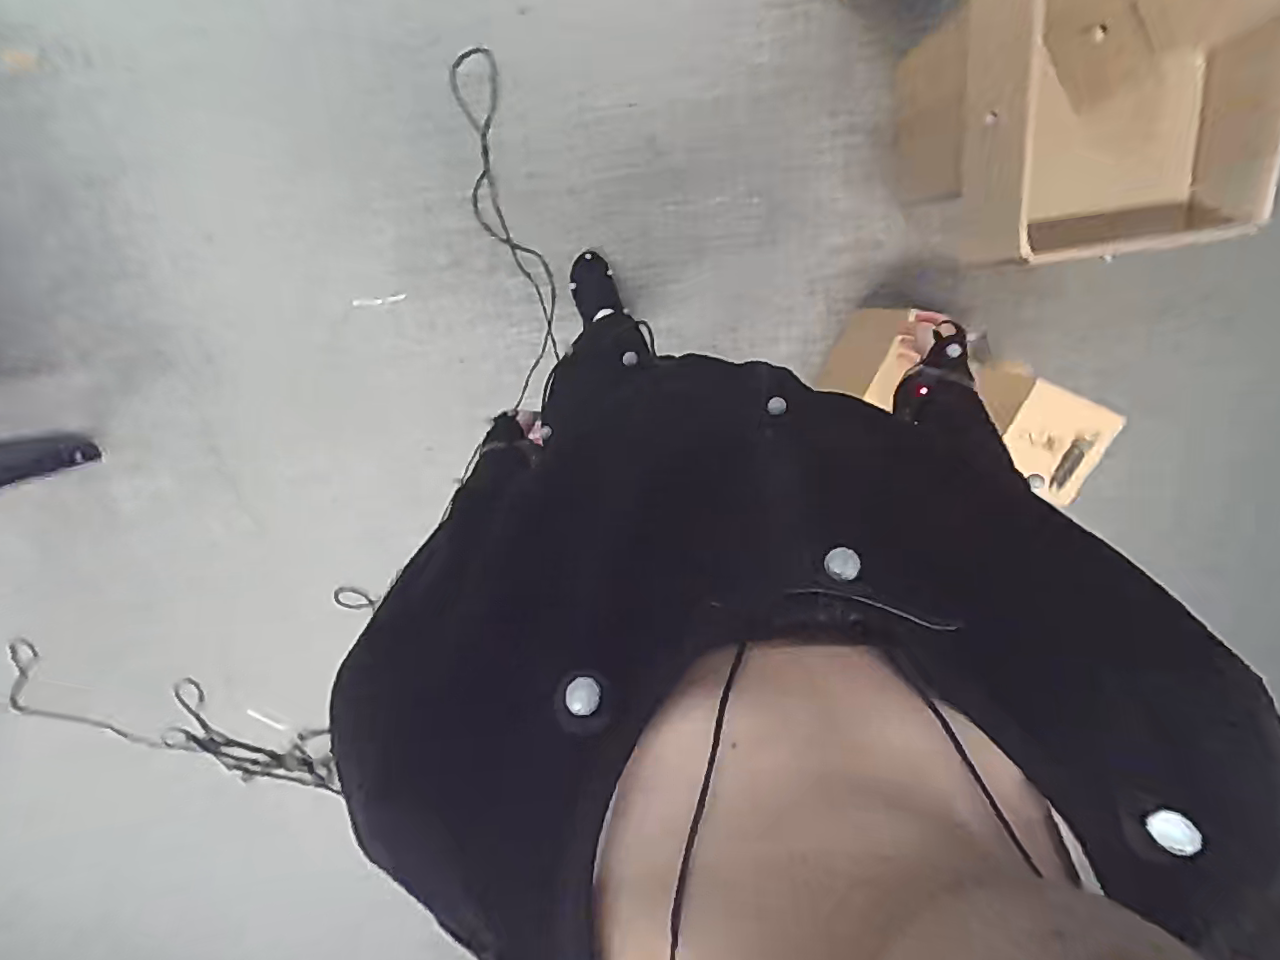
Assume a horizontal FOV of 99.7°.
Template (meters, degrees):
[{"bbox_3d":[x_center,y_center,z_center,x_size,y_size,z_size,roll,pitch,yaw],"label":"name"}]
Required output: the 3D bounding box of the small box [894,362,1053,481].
[{"bbox_3d":[0.666,-0.128,1.103,0.179,0.176,0.168,26,105,-10],"label":"small box"}]

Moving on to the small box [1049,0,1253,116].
[{"bbox_3d":[0.772,-0.701,0.812,0.168,0.176,0.179,-36,104,10],"label":"small box"}]

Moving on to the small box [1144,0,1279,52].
[{"bbox_3d":[0.756,-0.667,0.650,0.168,0.176,0.179,-35,104,8],"label":"small box"}]
